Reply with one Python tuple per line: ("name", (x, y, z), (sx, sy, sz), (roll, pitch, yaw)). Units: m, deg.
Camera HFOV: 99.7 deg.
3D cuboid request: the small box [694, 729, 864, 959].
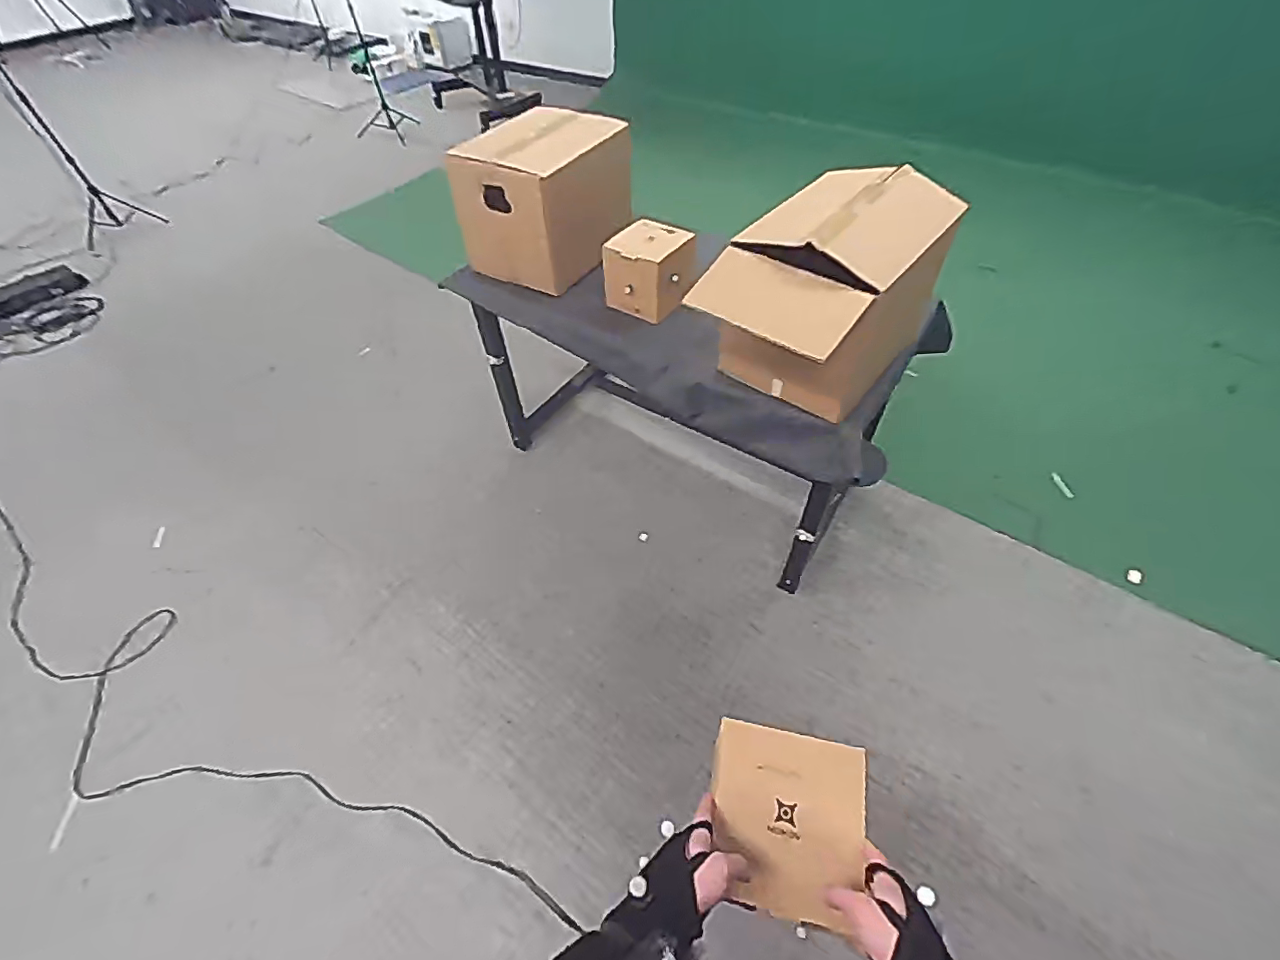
("small box", (0.157, 0.417, 0.637), (0.168, 0.176, 0.179), (8, 57, 9))
